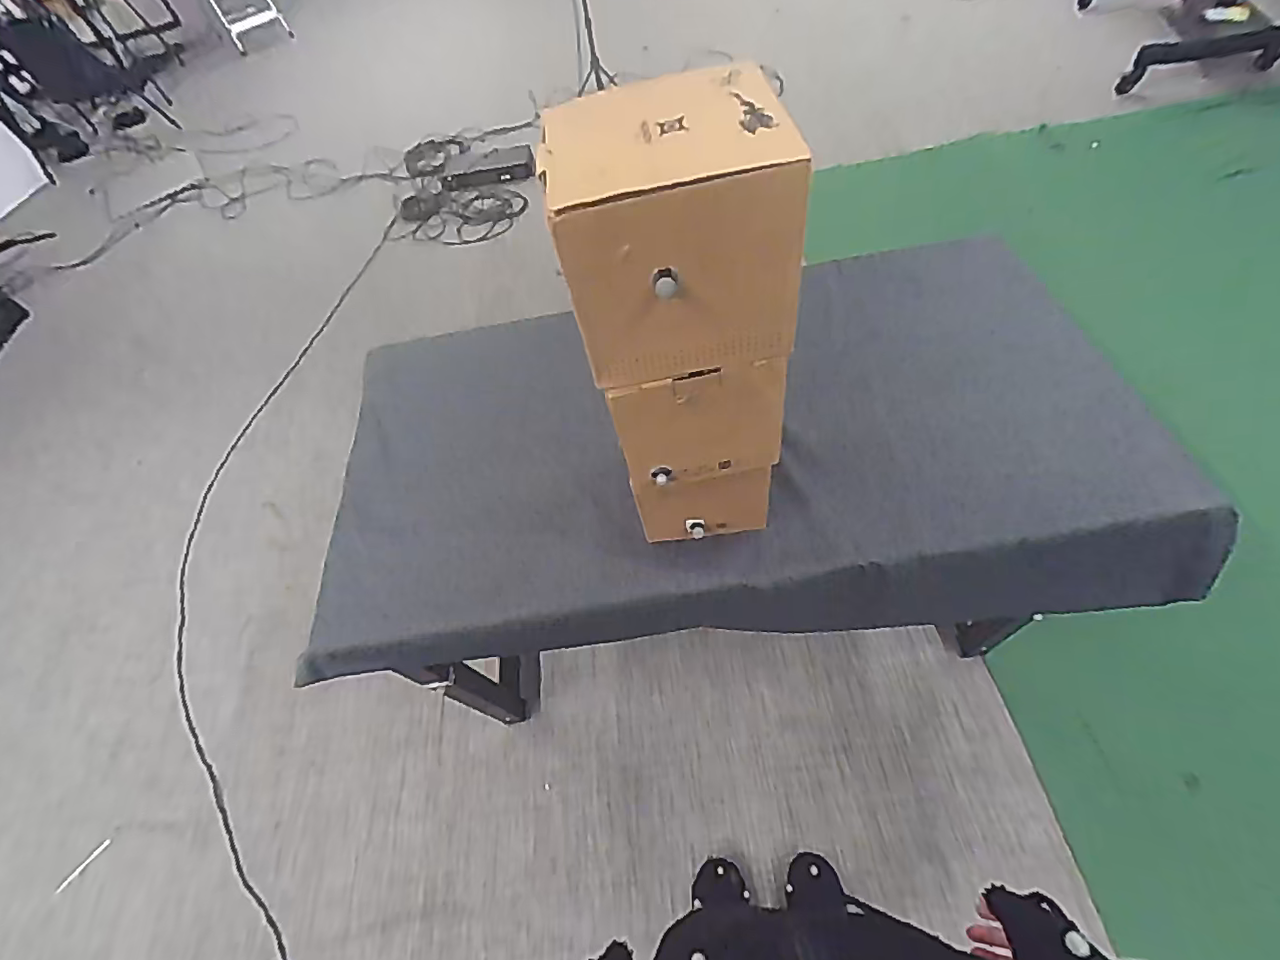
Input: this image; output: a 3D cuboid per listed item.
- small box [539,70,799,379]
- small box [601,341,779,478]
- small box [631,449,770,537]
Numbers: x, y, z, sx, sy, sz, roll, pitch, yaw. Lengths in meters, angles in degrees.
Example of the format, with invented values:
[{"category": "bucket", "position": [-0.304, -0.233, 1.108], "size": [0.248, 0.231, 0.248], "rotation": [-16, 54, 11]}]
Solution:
[{"category": "small box", "position": [0.024, -0.210, 0.468], "size": [0.179, 0.176, 0.168], "rotation": [-13, 54, 2]}, {"category": "small box", "position": [0.047, -0.120, 0.600], "size": [0.168, 0.176, 0.179], "rotation": [-15, 57, 2]}, {"category": "small box", "position": [0.076, -0.043, 0.742], "size": [0.168, 0.176, 0.179], "rotation": [-10, 57, 5]}]
